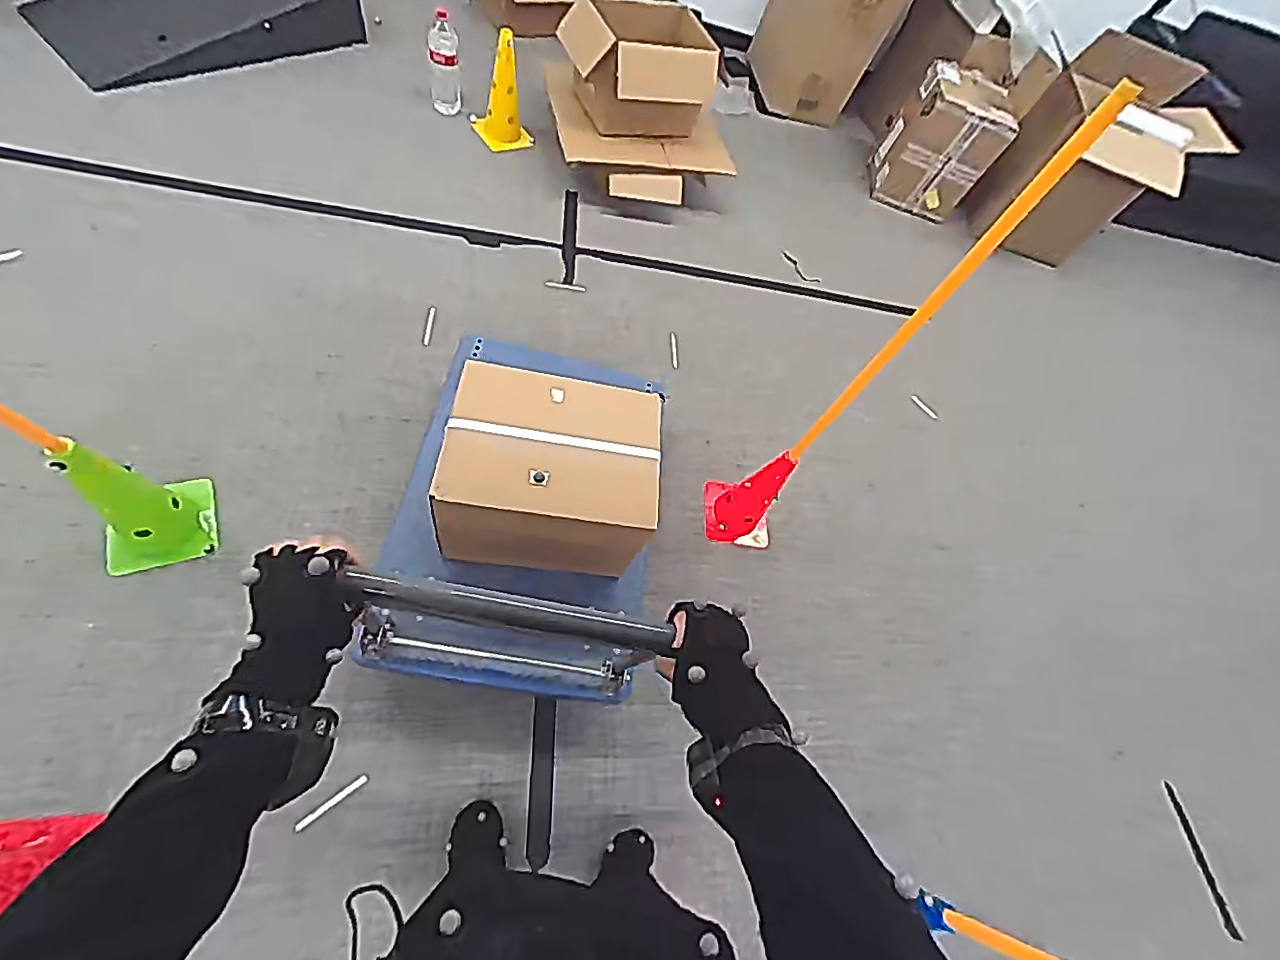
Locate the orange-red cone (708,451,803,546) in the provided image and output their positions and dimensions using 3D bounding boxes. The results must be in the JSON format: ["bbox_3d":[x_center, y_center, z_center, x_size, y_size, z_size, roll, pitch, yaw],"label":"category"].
[{"bbox_3d":[0.346,0.021,1.488,0.199,0.360,0.198,11,61,-12],"label":"orange-red cone"}]
